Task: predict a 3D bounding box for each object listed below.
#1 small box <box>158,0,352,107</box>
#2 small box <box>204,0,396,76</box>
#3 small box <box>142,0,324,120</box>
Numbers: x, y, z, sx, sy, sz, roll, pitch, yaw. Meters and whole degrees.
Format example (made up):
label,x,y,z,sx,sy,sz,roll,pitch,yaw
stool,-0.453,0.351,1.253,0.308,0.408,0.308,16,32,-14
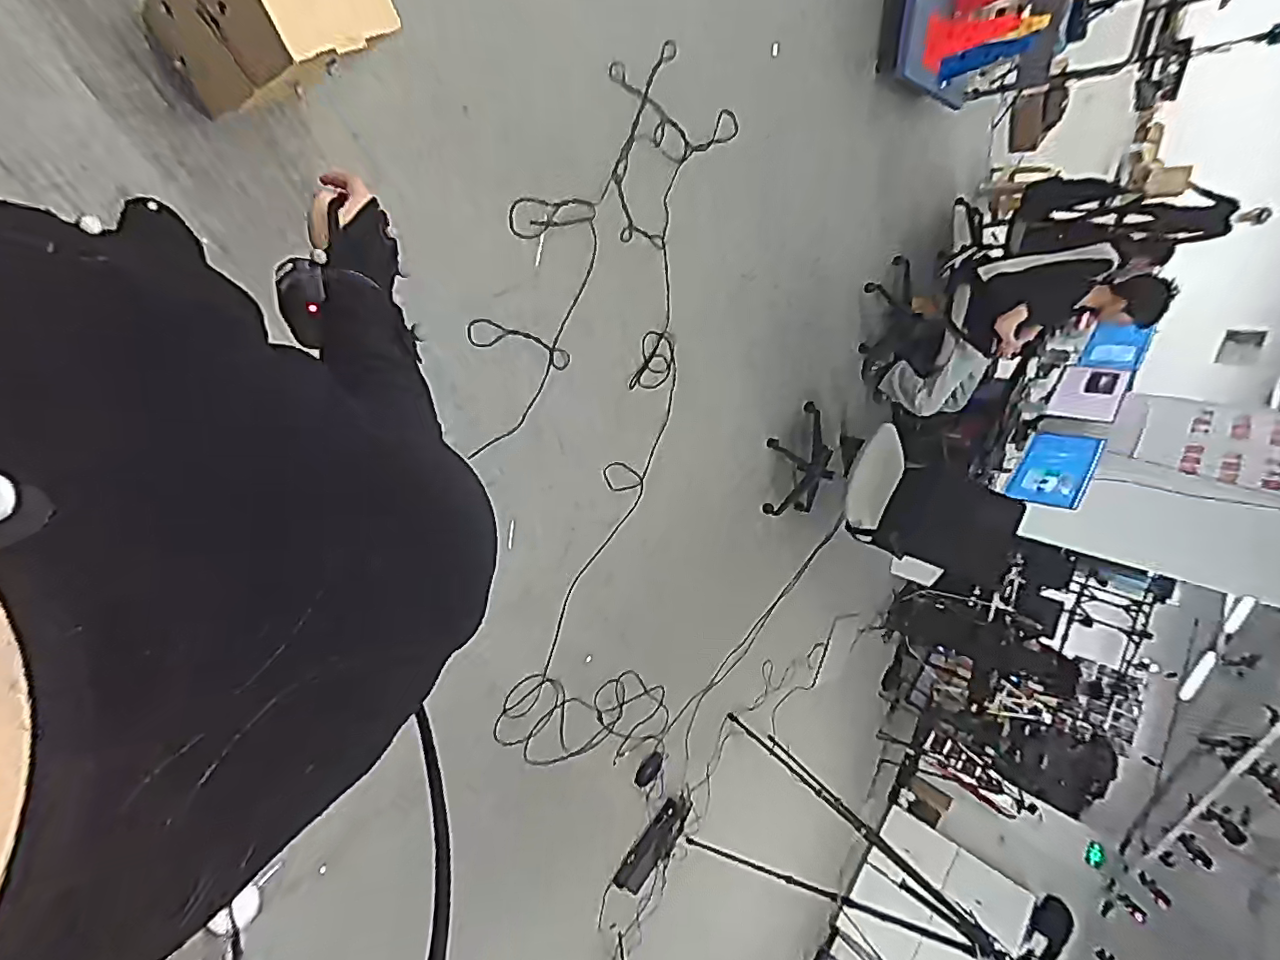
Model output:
label,x,y,z,sx,sy,sz,roll,pitch,yaw
small box,-0.587,-0.695,0.818,0.179,0.176,0.168,-46,134,-27
small box,-0.468,-0.660,0.709,0.168,0.176,0.179,-45,135,-28
small box,-0.697,-0.748,0.927,0.179,0.176,0.168,-45,133,-28
